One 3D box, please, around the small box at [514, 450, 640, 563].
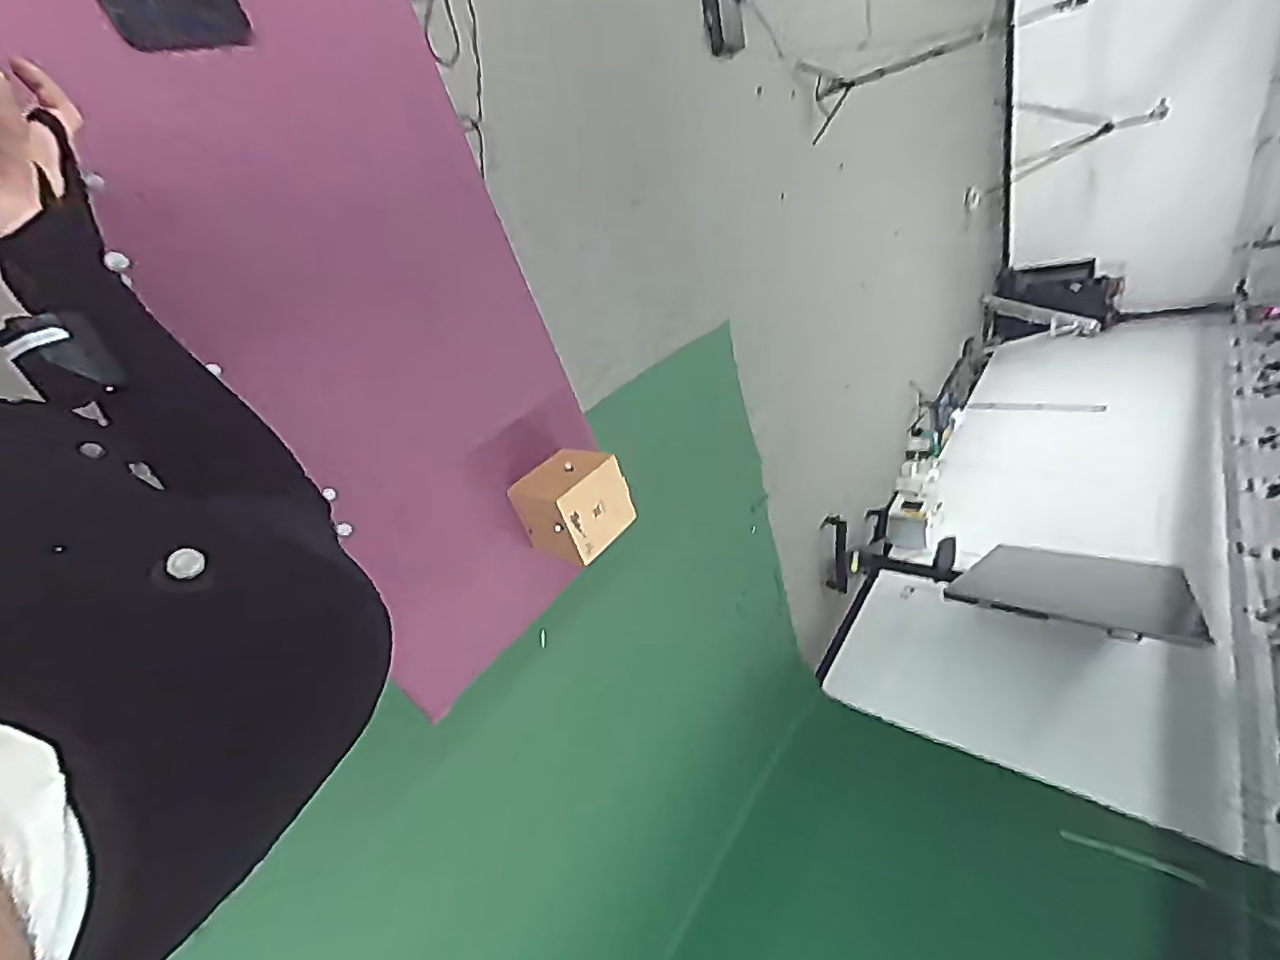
[{"bbox_3d":[-0.133,0.047,1.155,0.179,0.176,0.168,-42,124,-35],"label":"small box"}]
